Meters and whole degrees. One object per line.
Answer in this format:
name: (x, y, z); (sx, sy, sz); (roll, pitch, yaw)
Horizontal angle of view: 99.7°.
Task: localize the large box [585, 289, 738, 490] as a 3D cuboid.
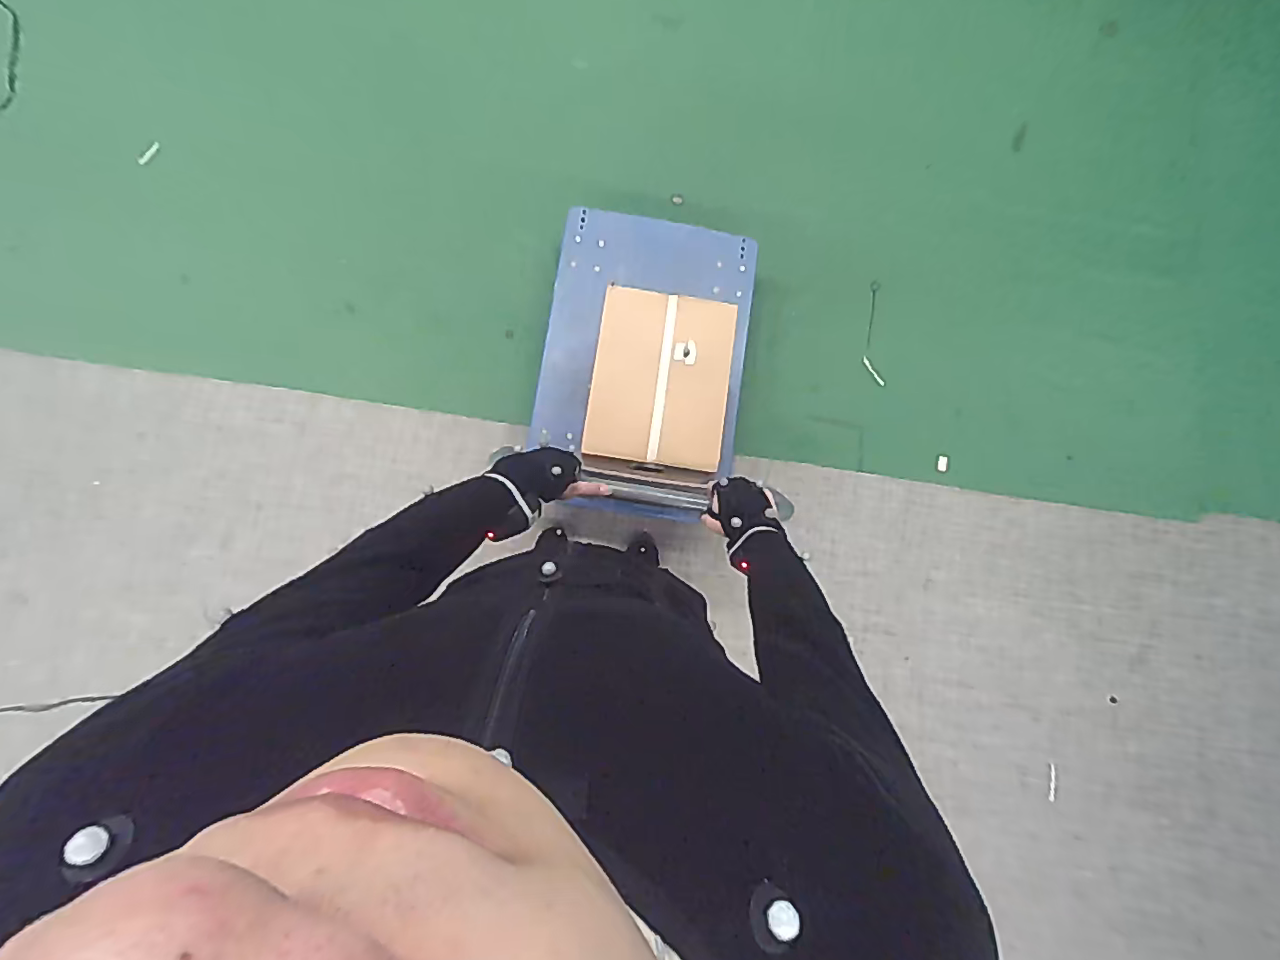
large box: (0.044, -0.204, 1.367); (0.320, 0.320, 0.408); (9, 81, -4)
